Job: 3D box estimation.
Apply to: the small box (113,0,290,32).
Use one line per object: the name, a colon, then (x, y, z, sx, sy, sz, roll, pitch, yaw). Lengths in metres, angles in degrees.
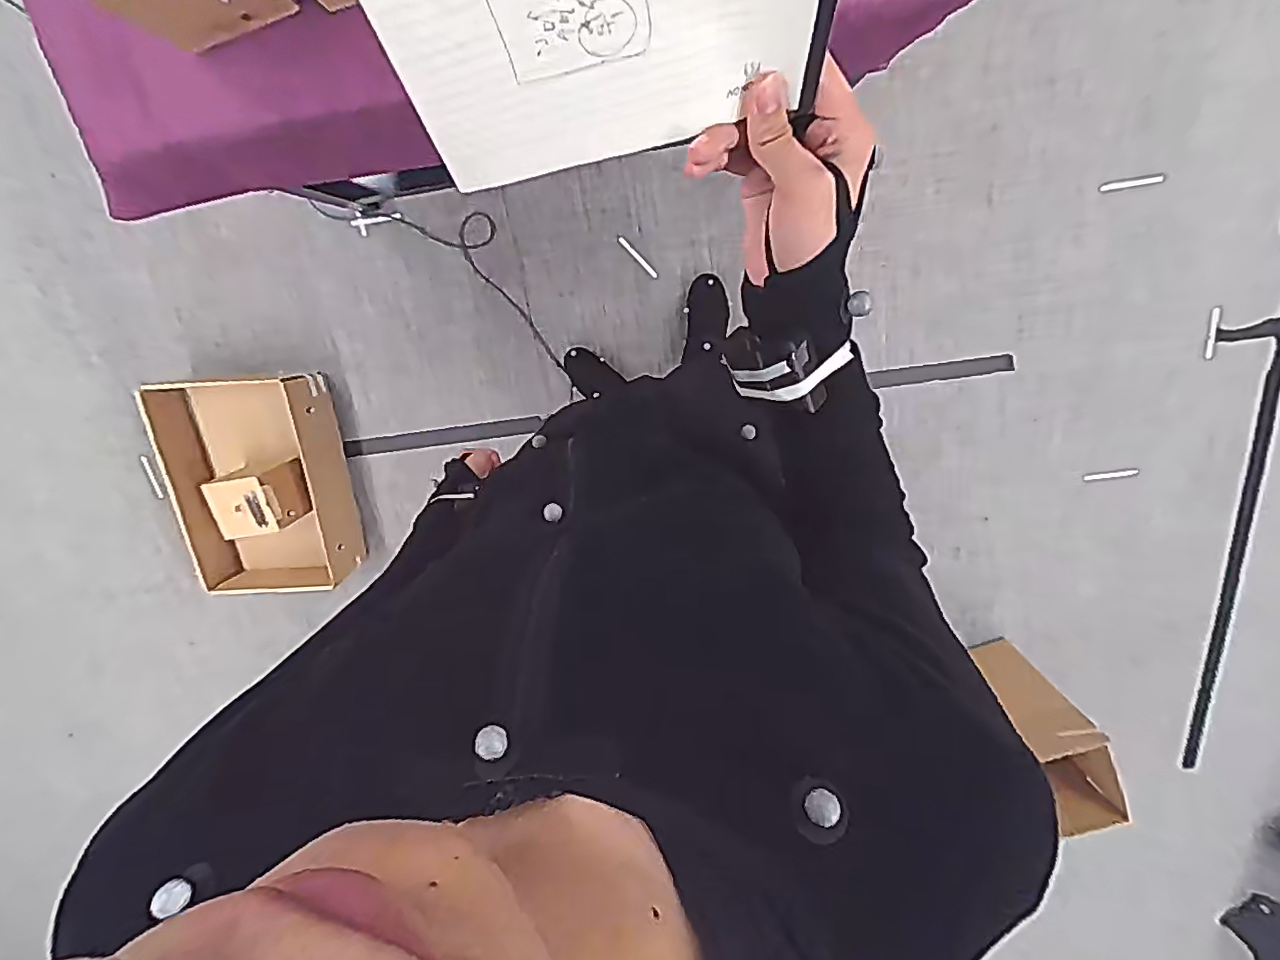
small box: (-0.527, -0.631, 0.584, 0.168, 0.176, 0.179, -16, 108, 6)
